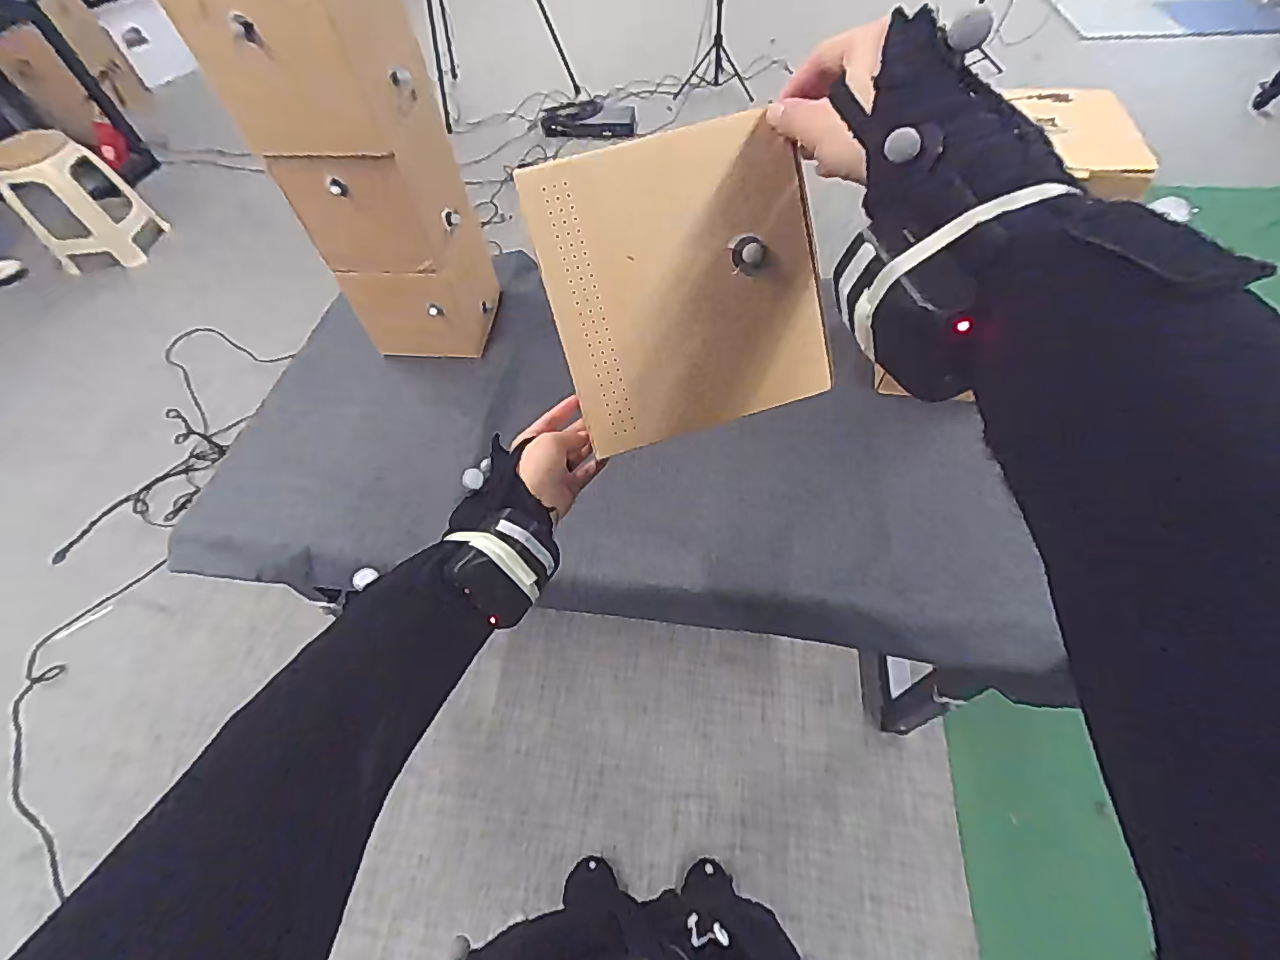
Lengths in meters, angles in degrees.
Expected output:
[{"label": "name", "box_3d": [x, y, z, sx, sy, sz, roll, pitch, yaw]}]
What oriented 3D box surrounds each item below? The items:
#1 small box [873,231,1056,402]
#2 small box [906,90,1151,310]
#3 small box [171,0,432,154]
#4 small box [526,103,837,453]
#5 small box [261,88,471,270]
[{"label": "small box", "box_3d": [0.442, -0.238, 0.773, 0.168, 0.176, 0.179, 7, 58, 9]}, {"label": "small box", "box_3d": [0.427, -0.323, 0.634, 0.168, 0.176, 0.179, 8, 59, 9]}, {"label": "small box", "box_3d": [-0.367, -0.493, 0.608, 0.179, 0.176, 0.168, 4, 59, 5]}, {"label": "small box", "box_3d": [0.019, -0.137, 0.407, 0.176, 0.179, 0.168, -16, 16, -5]}, {"label": "small box", "box_3d": [-0.361, -0.412, 0.751, 0.179, 0.176, 0.168, 3, 59, 4]}]
